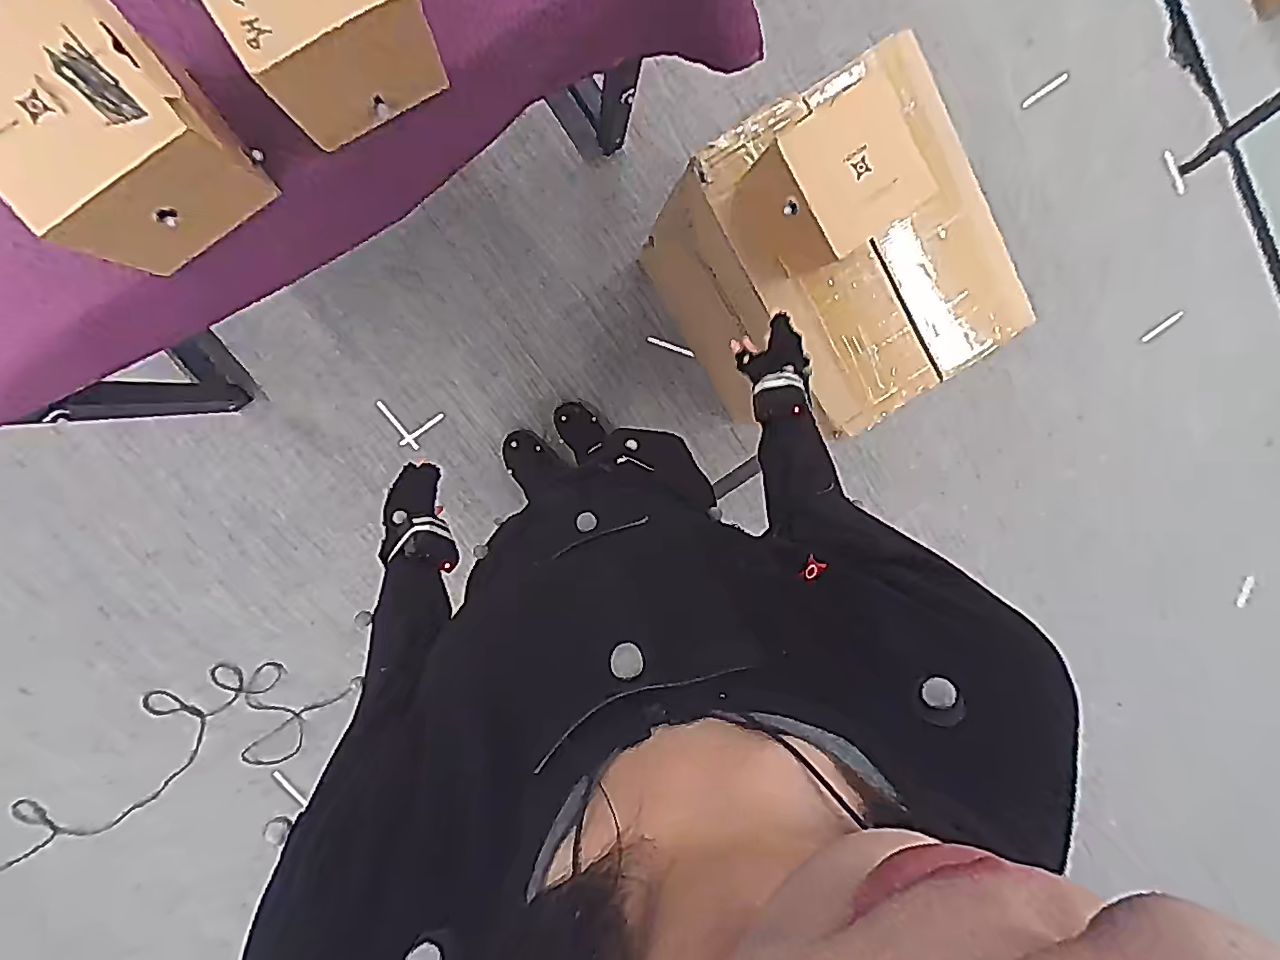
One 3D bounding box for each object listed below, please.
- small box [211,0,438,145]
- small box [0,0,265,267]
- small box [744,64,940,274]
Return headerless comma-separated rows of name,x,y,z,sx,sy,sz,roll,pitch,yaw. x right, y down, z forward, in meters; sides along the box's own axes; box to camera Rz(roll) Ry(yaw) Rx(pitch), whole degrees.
small box,-0.335,-0.502,0.569,0.179,0.176,0.168,-31,101,-3
small box,-0.538,-0.354,0.561,0.179,0.176,0.168,-36,101,0
small box,0.274,-0.423,0.773,0.168,0.176,0.179,-35,103,1
